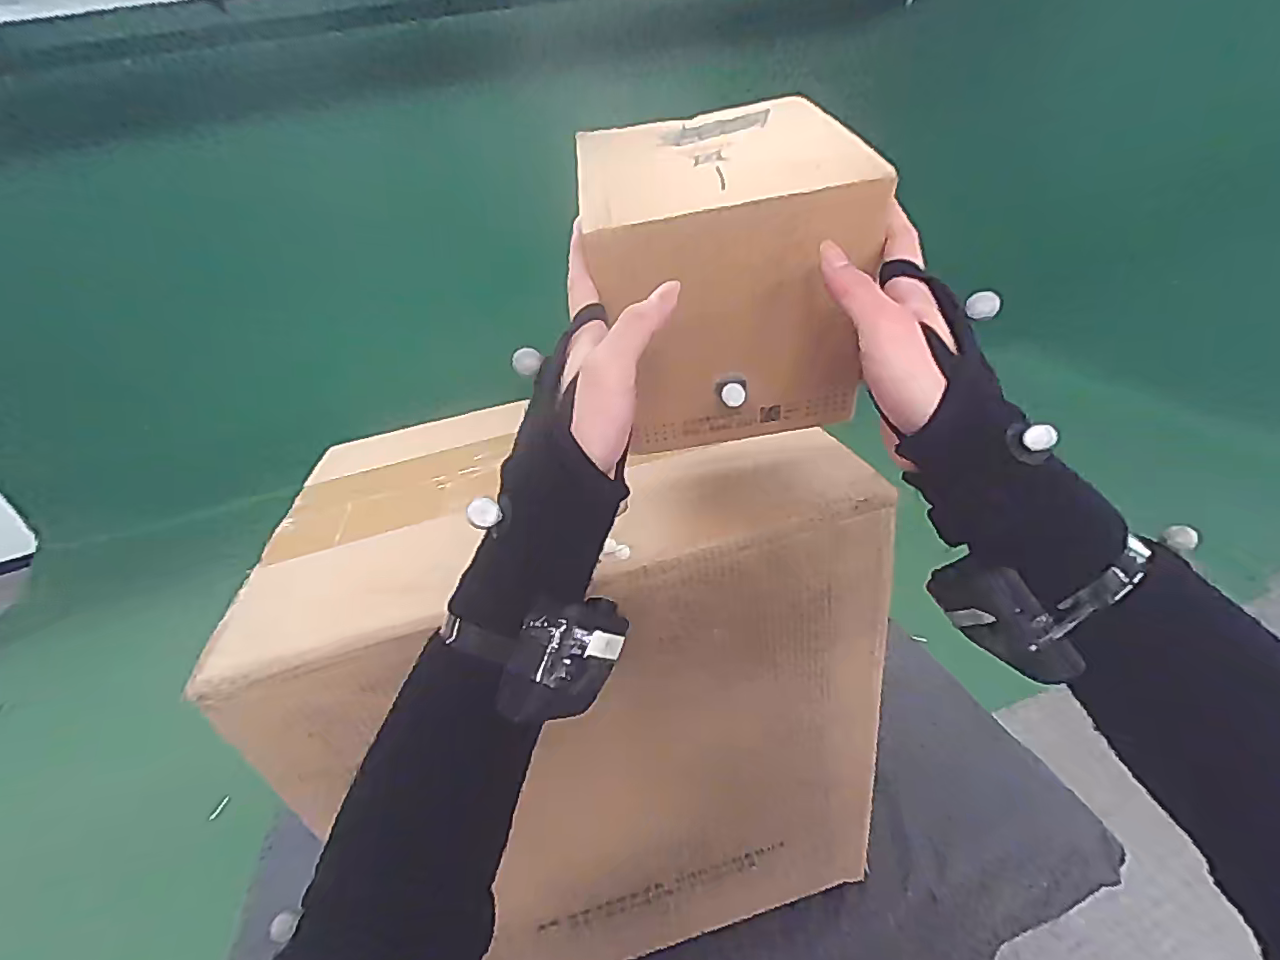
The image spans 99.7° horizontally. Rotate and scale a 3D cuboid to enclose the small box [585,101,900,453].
[{"bbox_3d":[0.056,-0.144,0.393,0.168,0.176,0.179,-8,48,3],"label":"small box"}]
